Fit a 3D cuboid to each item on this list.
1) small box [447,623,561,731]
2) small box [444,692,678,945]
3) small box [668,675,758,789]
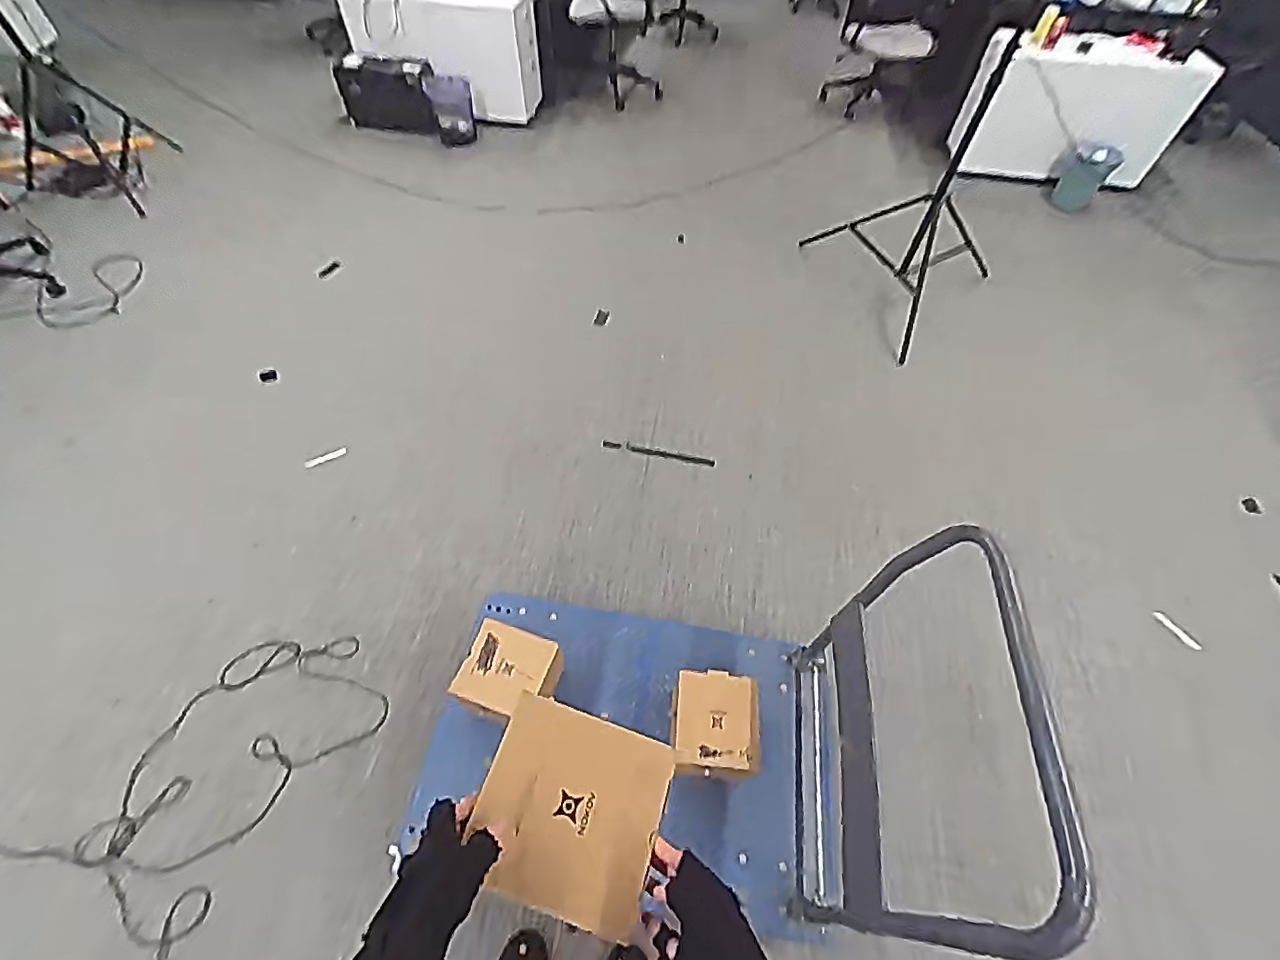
[{"bbox_3d":[-0.287,0.444,1.182,0.179,0.176,0.168,18,55,8],"label":"small box"},{"bbox_3d":[-0.080,0.348,0.578,0.179,0.176,0.168,20,58,1],"label":"small box"},{"bbox_3d":[0.147,0.534,1.142,0.168,0.176,0.179,5,52,2],"label":"small box"}]
